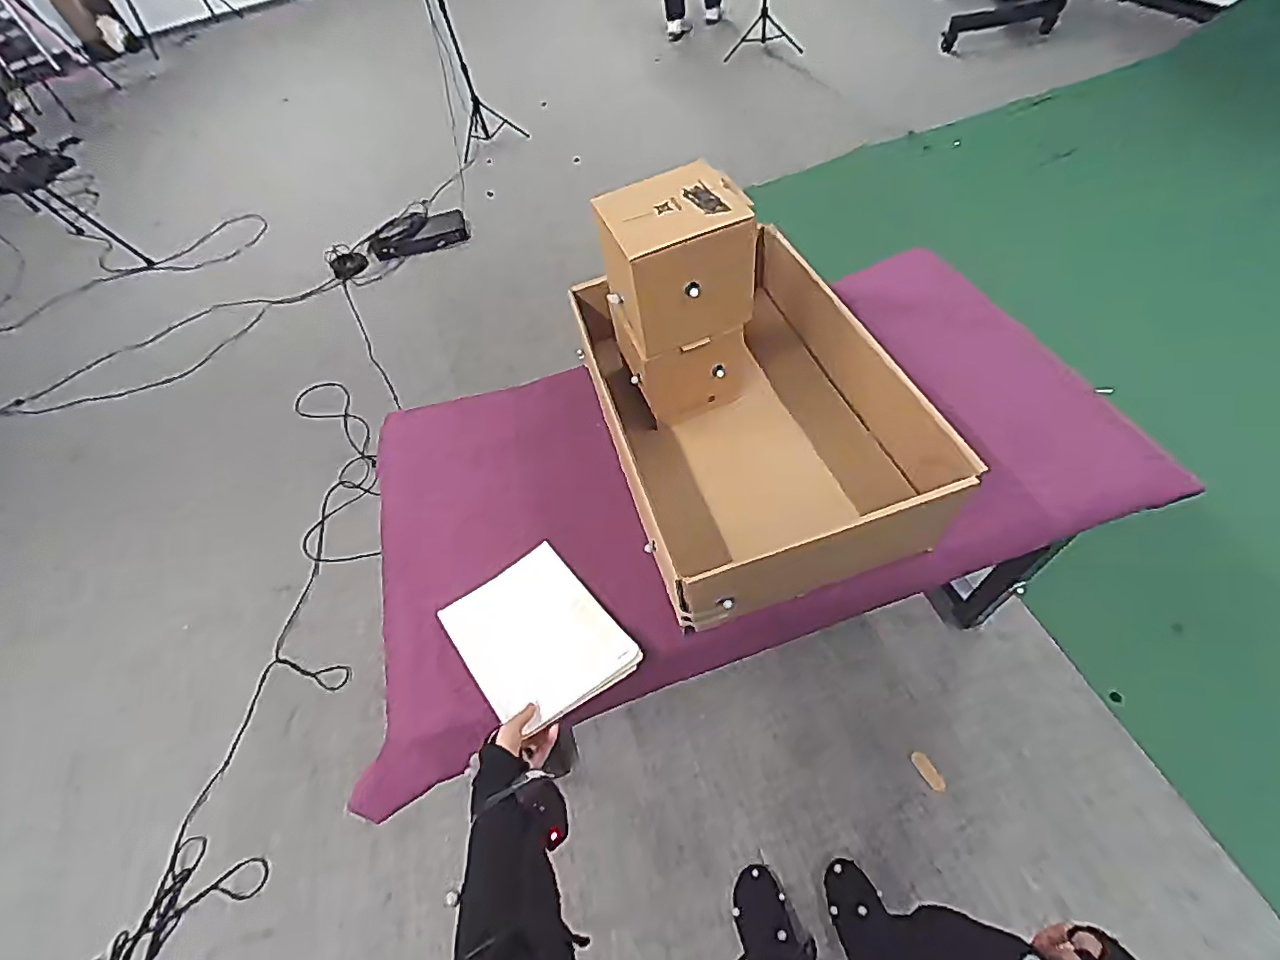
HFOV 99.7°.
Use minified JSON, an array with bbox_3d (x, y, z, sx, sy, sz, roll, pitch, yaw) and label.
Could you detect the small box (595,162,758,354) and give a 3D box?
[{"bbox_3d":[0.053,-0.315,0.780,0.179,0.176,0.168,-21,55,-5],"label":"small box"}]
